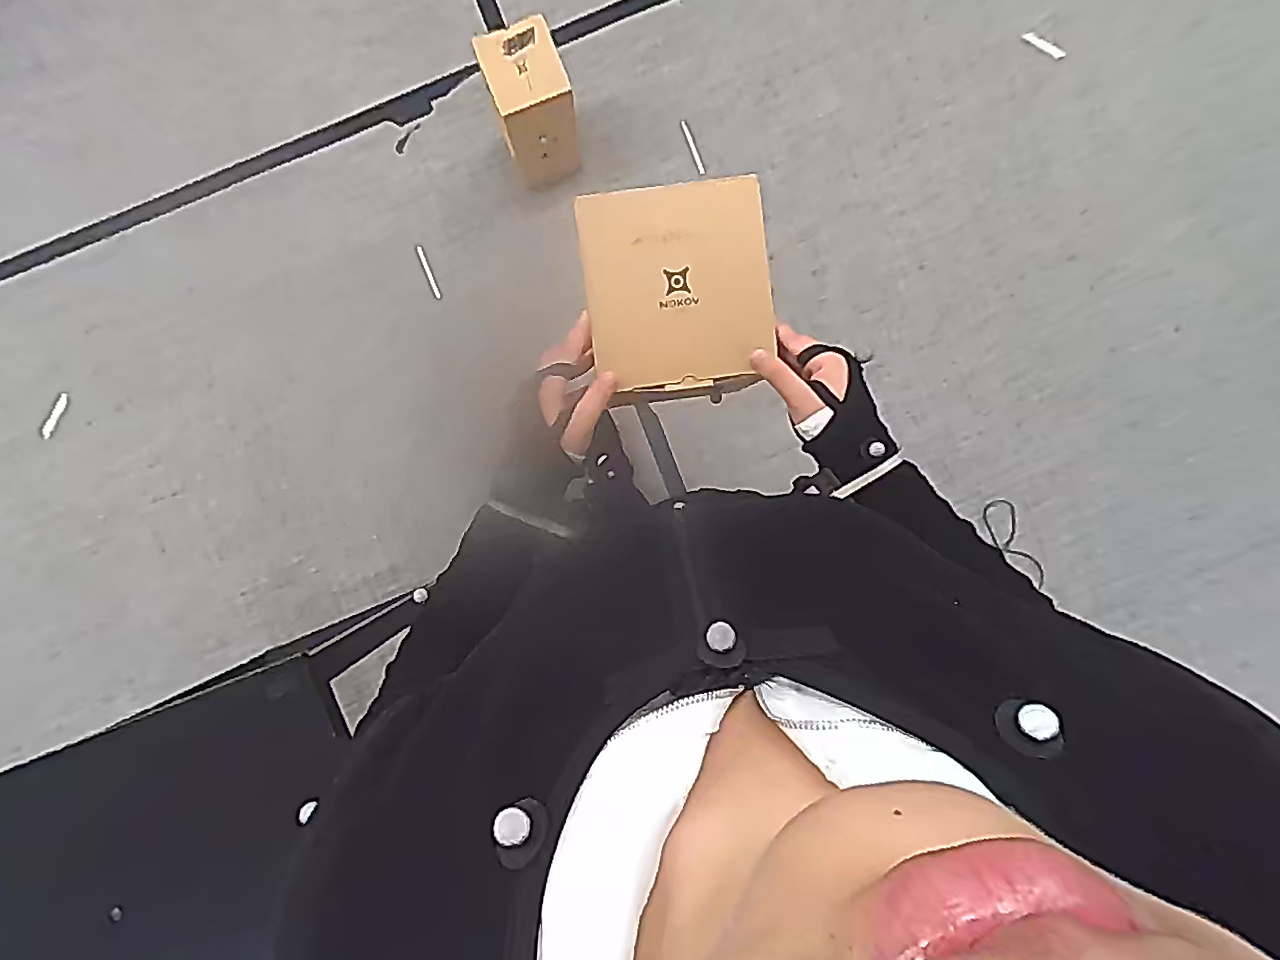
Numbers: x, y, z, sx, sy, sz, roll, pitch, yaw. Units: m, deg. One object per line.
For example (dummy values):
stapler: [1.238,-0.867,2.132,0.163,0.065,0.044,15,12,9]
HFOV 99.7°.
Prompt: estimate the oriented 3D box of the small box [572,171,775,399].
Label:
small box: [0.029,-0.181,0.558,0.168,0.176,0.179,-8,93,-2]

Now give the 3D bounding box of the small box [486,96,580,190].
small box: [-0.268,-0.888,1.395,0.179,0.176,0.168,-22,92,-2]

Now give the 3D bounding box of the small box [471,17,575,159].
small box: [-0.259,-0.881,1.231,0.168,0.176,0.179,-22,92,-1]
